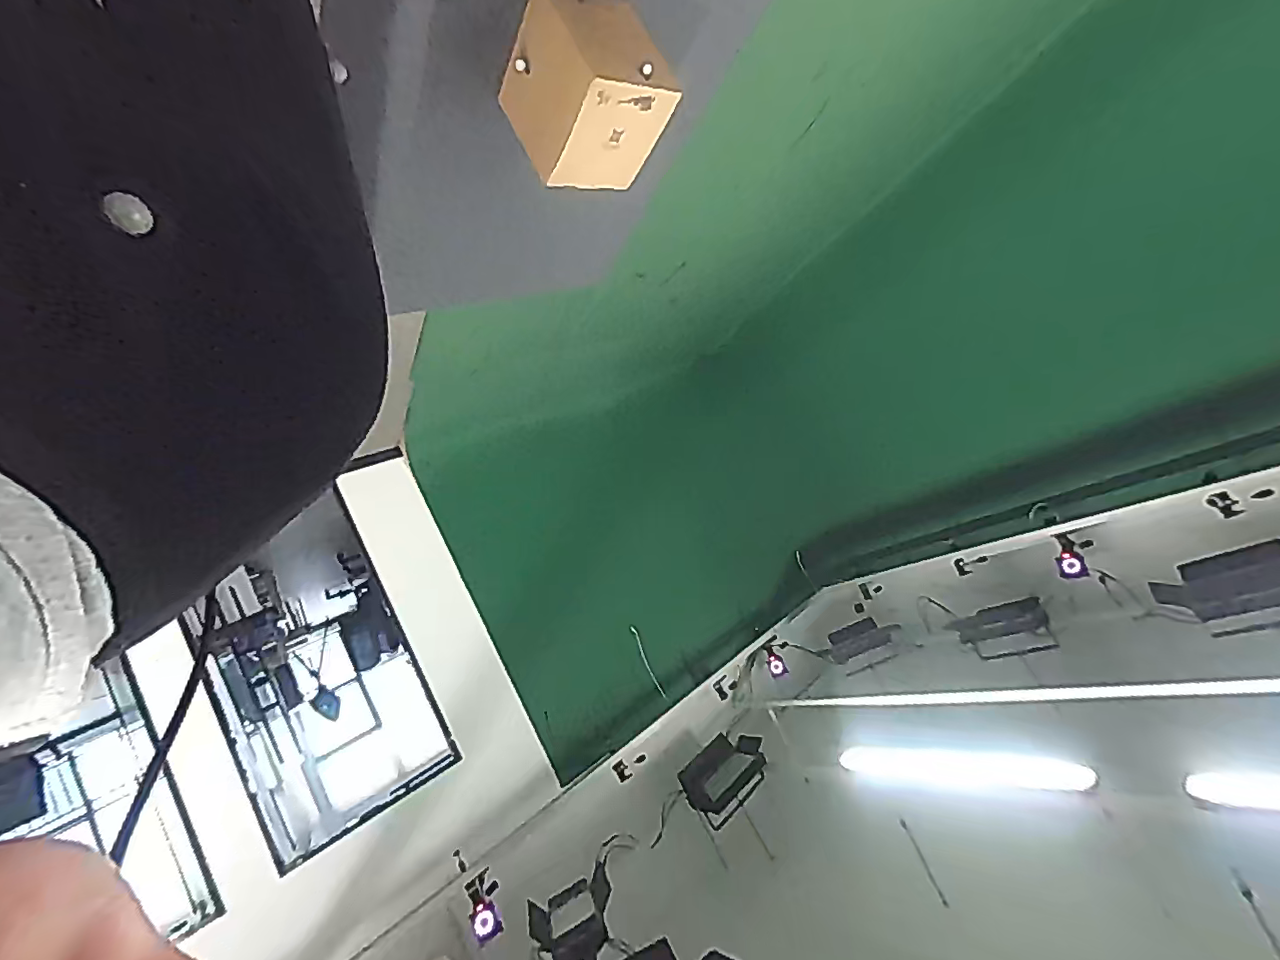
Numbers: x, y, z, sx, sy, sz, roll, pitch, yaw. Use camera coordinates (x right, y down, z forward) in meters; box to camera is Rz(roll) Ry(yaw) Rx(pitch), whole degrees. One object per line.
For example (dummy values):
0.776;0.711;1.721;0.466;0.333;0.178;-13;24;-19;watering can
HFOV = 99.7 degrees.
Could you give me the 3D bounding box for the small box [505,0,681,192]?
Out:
-0.078;-0.562;0.799;0.168;0.176;0.179;-23;172;-37;small box
